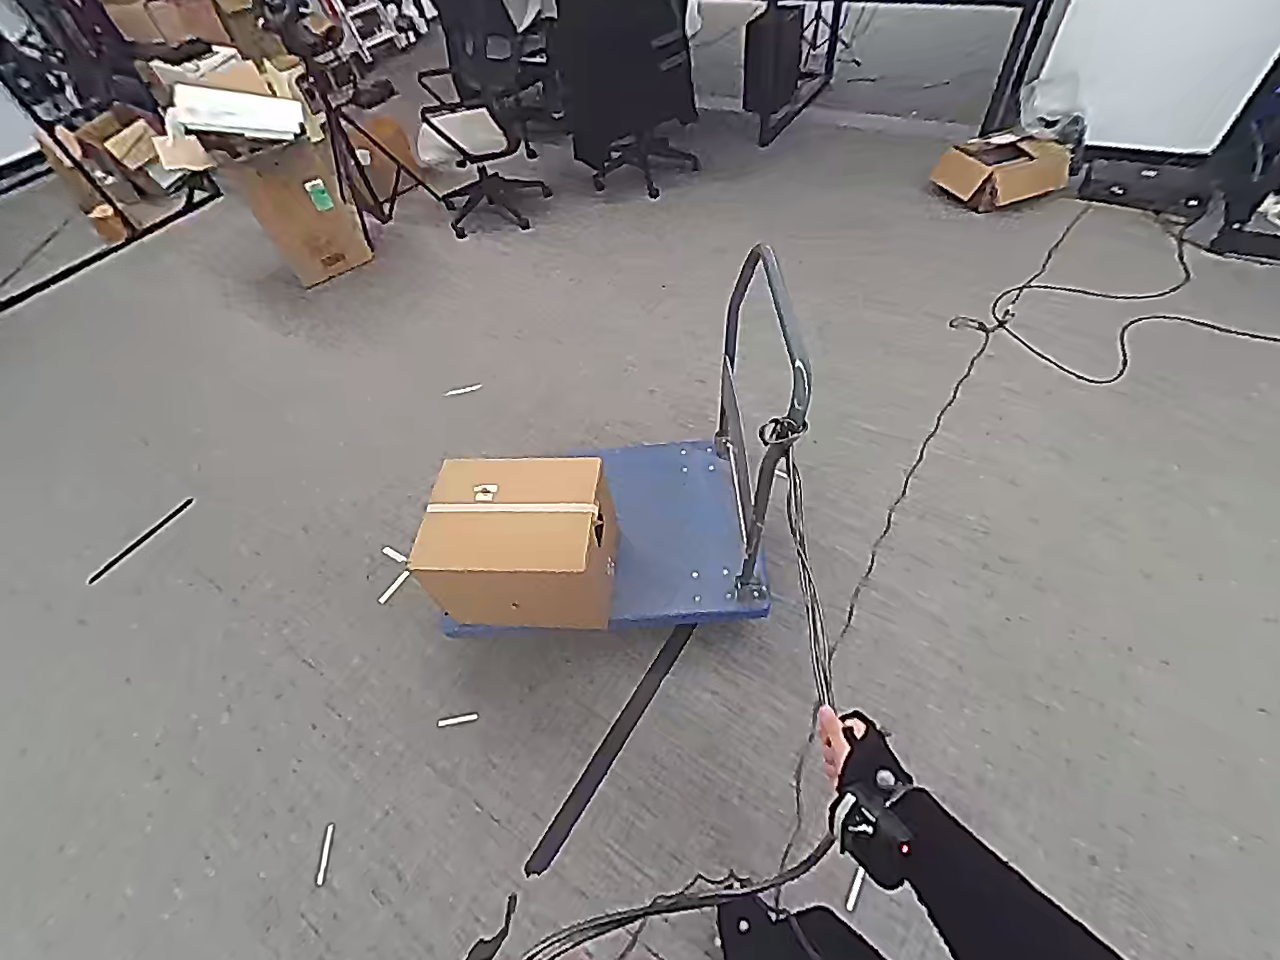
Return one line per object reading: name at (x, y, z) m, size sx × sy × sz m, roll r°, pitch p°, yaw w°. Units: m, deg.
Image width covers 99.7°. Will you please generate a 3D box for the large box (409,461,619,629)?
large box at (-0.278, 0.171, 1.352) m, size 0.408 × 0.320 × 0.320 m, roll -1°, pitch 52°, yaw 8°
